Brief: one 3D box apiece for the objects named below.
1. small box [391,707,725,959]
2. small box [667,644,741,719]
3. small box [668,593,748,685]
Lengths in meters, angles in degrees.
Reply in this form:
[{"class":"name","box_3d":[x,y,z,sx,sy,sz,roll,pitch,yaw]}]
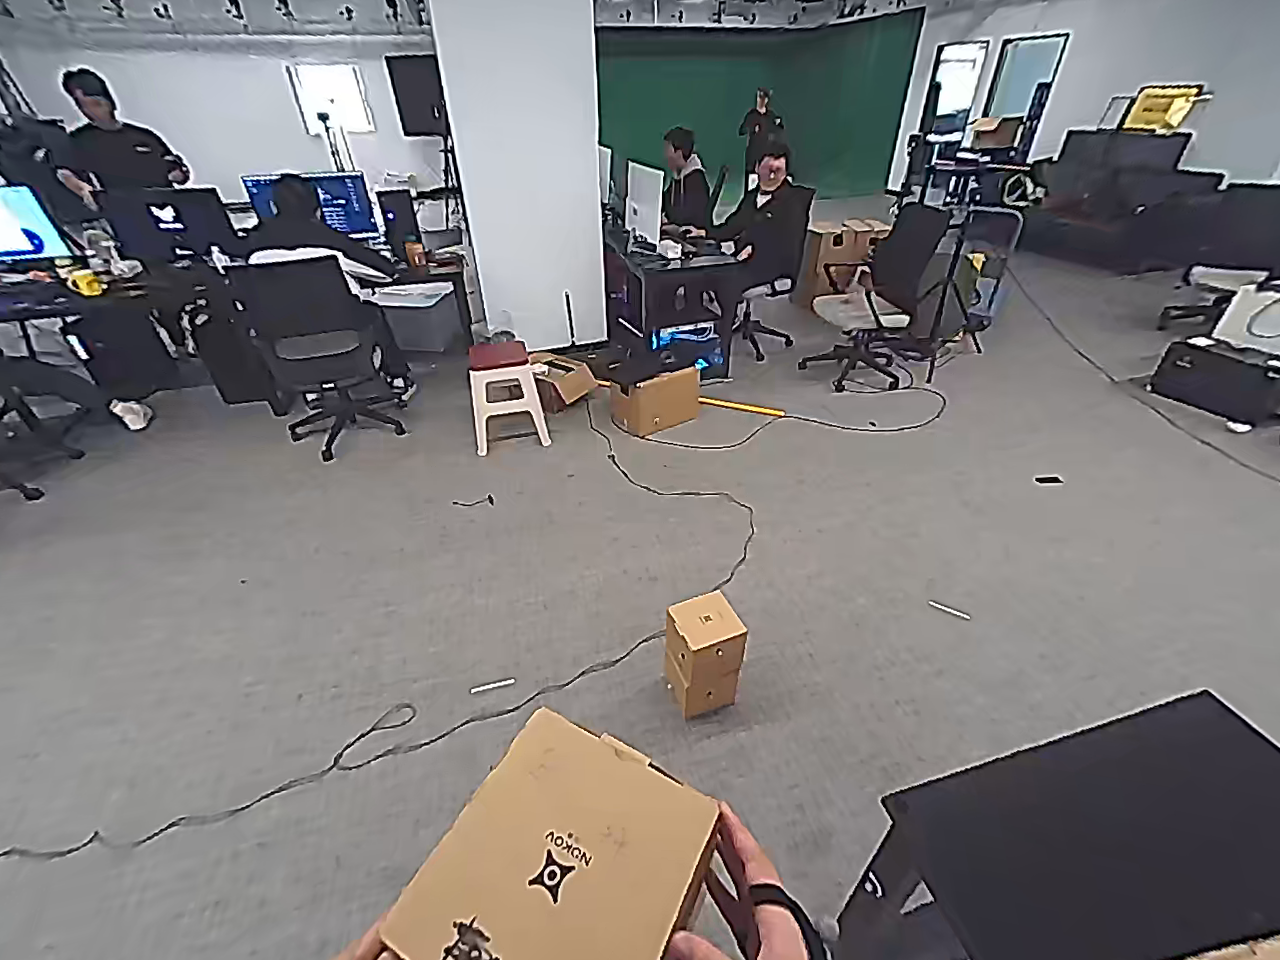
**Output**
[{"class":"small box","box_3d":[-0.047,0.324,0.416,0.168,0.176,0.179,16,39,24]},{"class":"small box","box_3d":[0.189,0.598,1.661,0.179,0.176,0.168,-13,37,-15]},{"class":"small box","box_3d":[0.191,0.464,1.570,0.179,0.176,0.168,-13,38,-18]}]
